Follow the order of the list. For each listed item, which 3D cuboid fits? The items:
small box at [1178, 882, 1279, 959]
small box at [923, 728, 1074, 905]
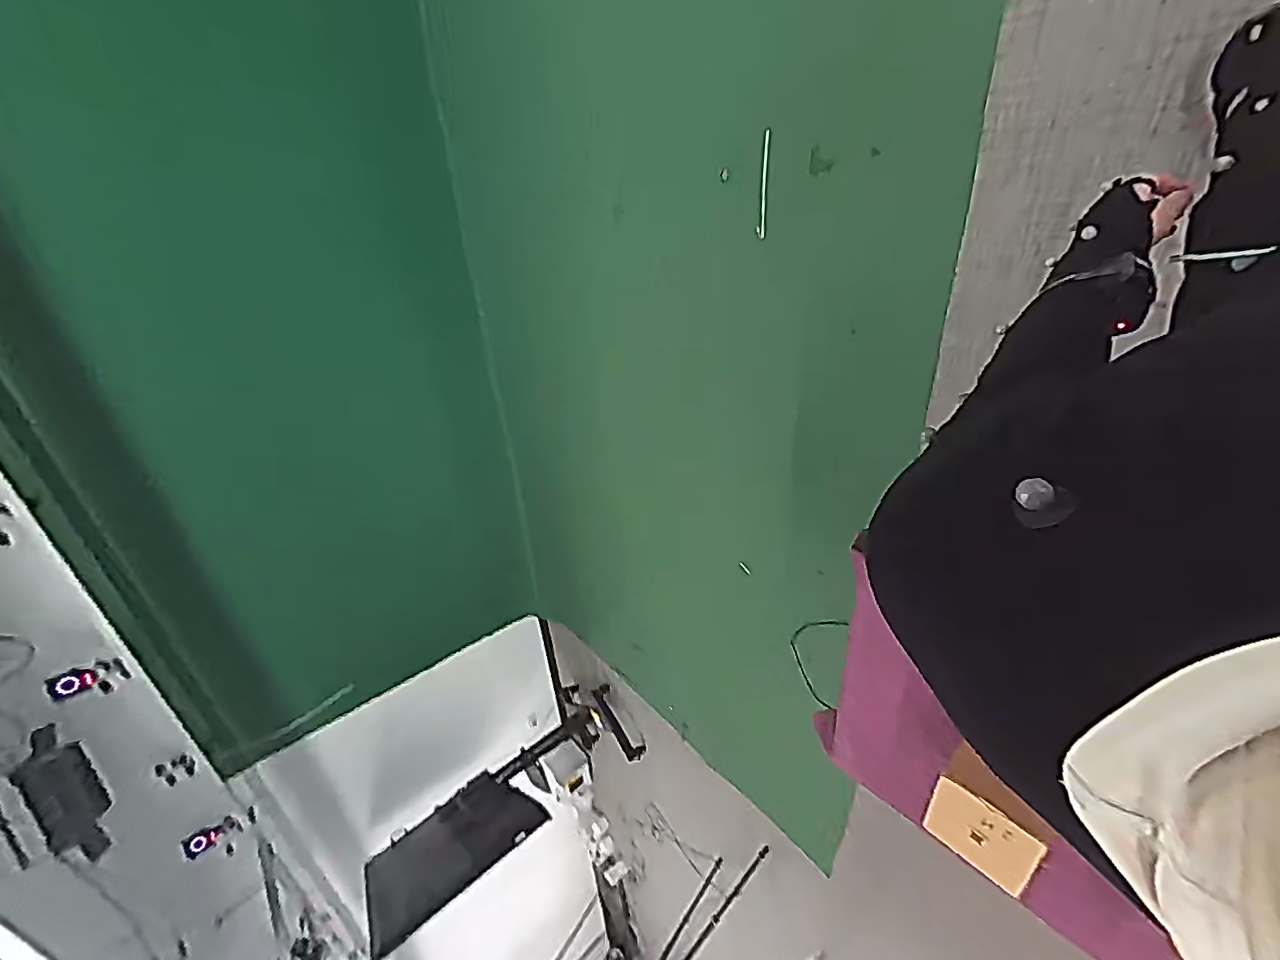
[{"bbox_3d":[0.874,0.706,0.742,0.179,0.176,0.168,21,127,47],"label":"small box"},{"bbox_3d":[0.652,0.603,0.987,0.168,0.176,0.179,27,131,43],"label":"small box"}]
